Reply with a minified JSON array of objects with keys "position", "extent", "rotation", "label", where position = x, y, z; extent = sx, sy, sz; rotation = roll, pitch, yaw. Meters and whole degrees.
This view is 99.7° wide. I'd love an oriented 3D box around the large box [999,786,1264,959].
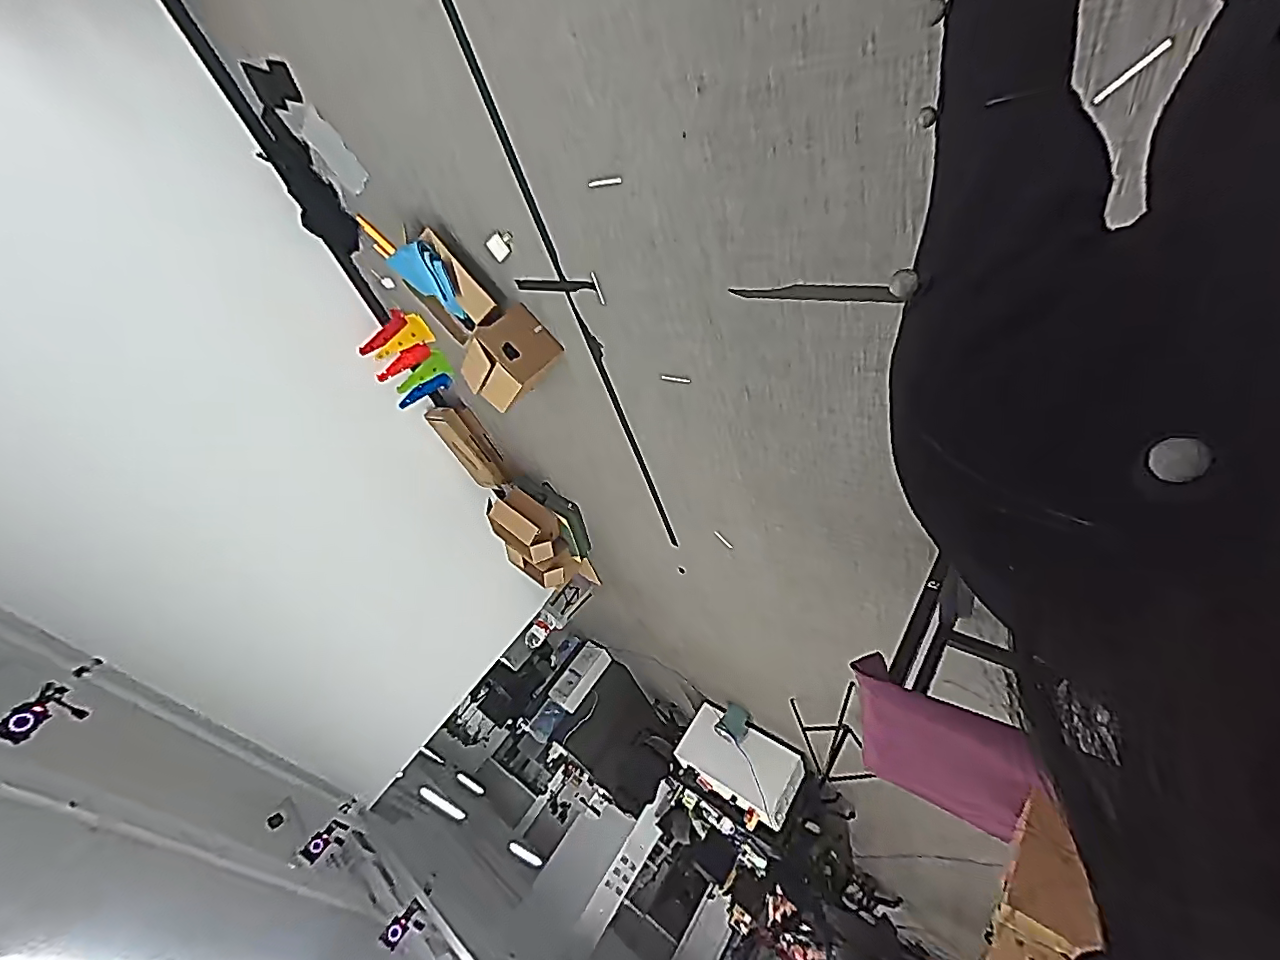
[{"position":[1.154,1.039,1.305],"extent":[0.408,0.320,0.320],"rotation":[17,142,40],"label":"large box"}]
